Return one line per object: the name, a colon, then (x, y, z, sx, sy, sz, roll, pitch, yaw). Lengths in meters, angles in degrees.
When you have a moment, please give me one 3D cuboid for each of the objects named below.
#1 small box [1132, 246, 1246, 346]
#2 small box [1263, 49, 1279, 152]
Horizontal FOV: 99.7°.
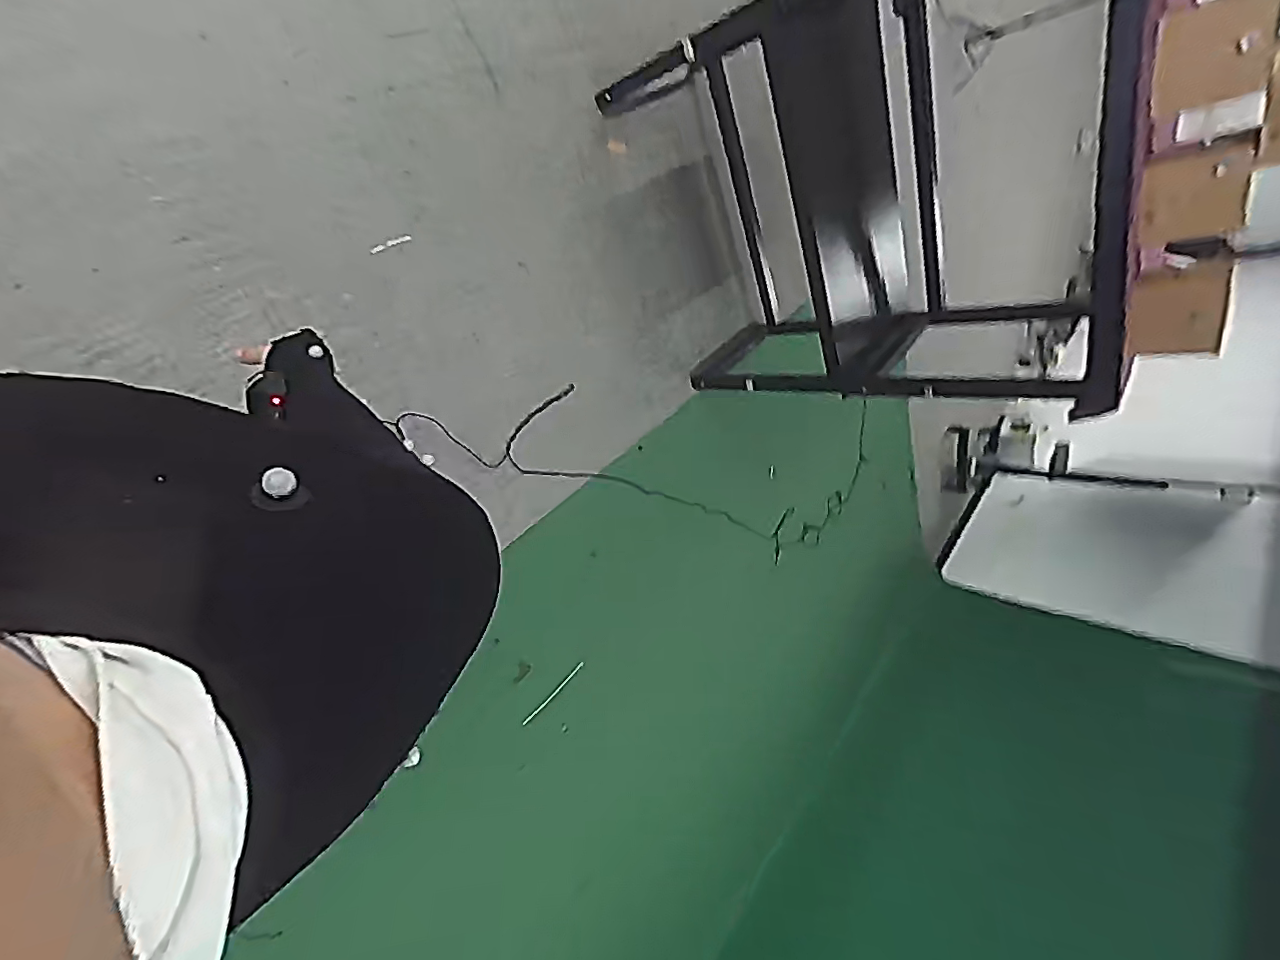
small box: (1.297, -0.431, 1.284, 0.168, 0.176, 0.179, -38, 121, -31)
small box: (1.267, -0.724, 0.975, 0.179, 0.176, 0.168, -45, 125, -28)
